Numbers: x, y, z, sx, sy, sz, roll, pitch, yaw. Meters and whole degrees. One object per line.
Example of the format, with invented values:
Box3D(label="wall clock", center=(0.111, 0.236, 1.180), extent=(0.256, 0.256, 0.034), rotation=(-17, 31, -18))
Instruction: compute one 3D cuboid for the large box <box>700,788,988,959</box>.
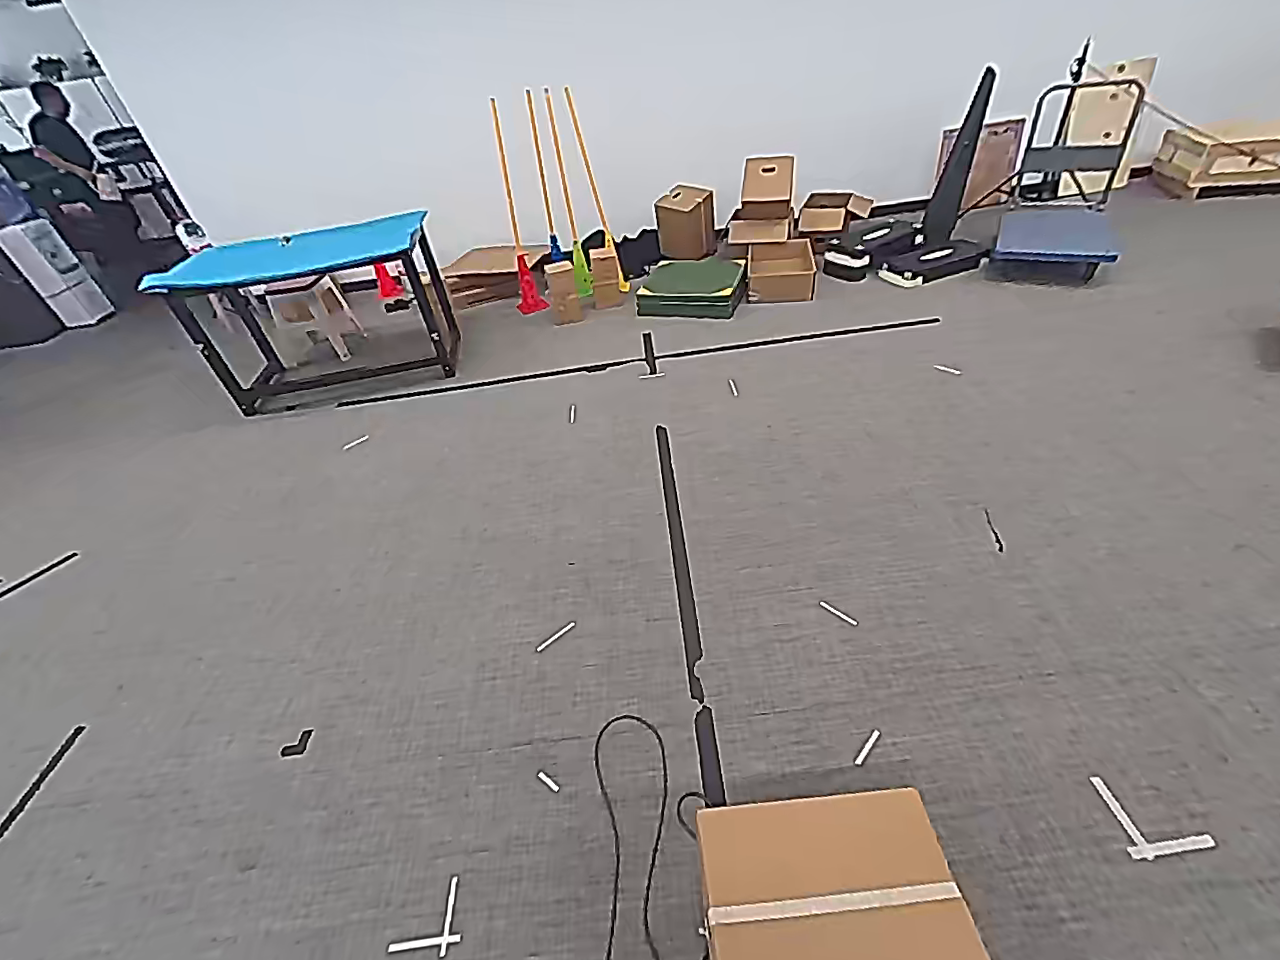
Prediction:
Box3D(label="large box", center=(0.332, 0.797, 0.968), extent=(0.408, 0.320, 0.320), rotation=(-7, 39, 0))
